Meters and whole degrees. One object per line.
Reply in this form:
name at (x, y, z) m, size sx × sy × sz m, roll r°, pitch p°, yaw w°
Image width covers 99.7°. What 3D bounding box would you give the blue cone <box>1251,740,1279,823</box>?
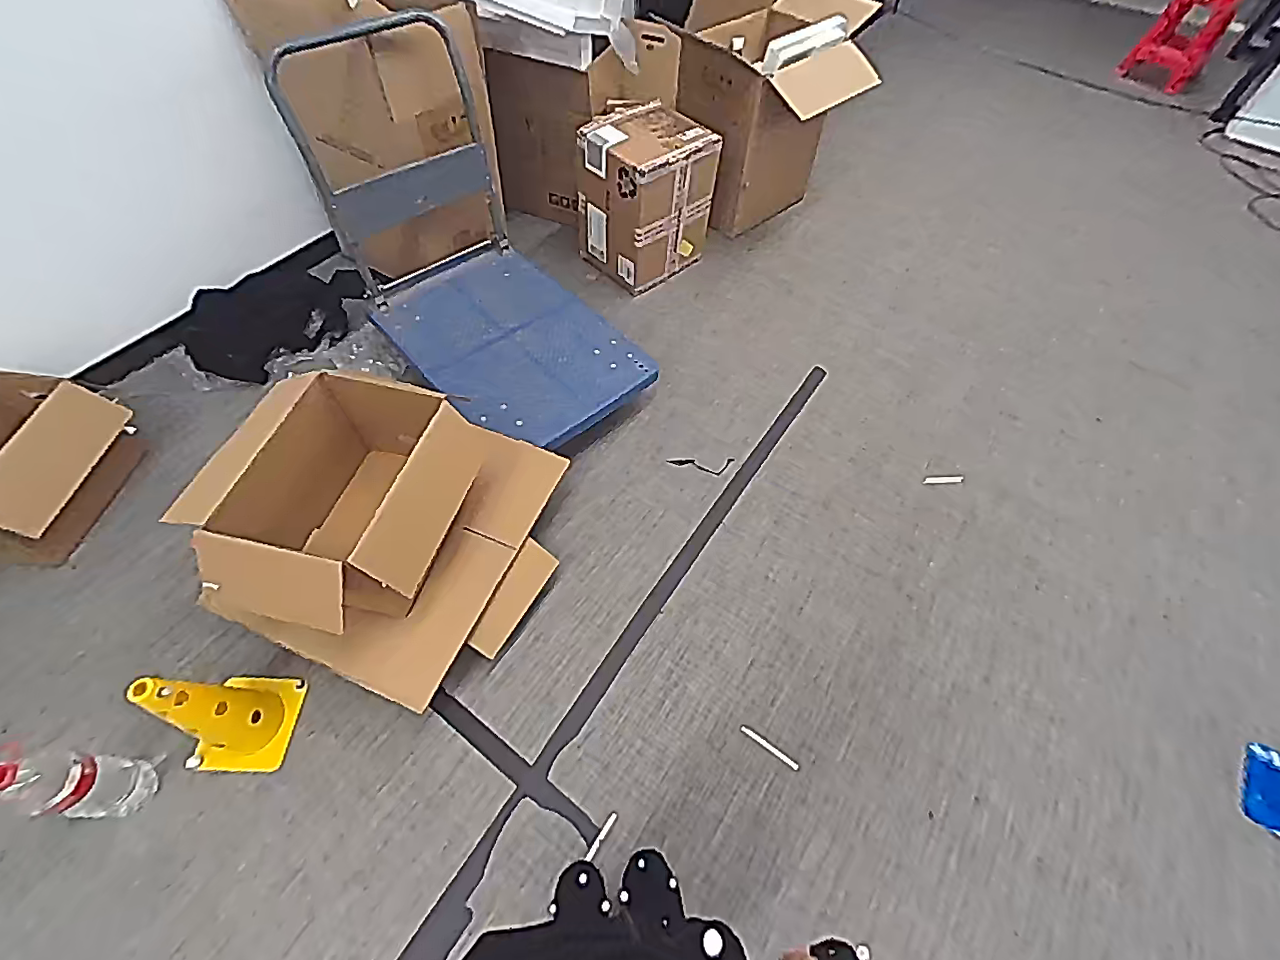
blue cone at (1.533, 0.644, 1.112) m, size 0.192 × 0.380 × 0.193 m, roll 35°, pitch 63°, yaw 18°
